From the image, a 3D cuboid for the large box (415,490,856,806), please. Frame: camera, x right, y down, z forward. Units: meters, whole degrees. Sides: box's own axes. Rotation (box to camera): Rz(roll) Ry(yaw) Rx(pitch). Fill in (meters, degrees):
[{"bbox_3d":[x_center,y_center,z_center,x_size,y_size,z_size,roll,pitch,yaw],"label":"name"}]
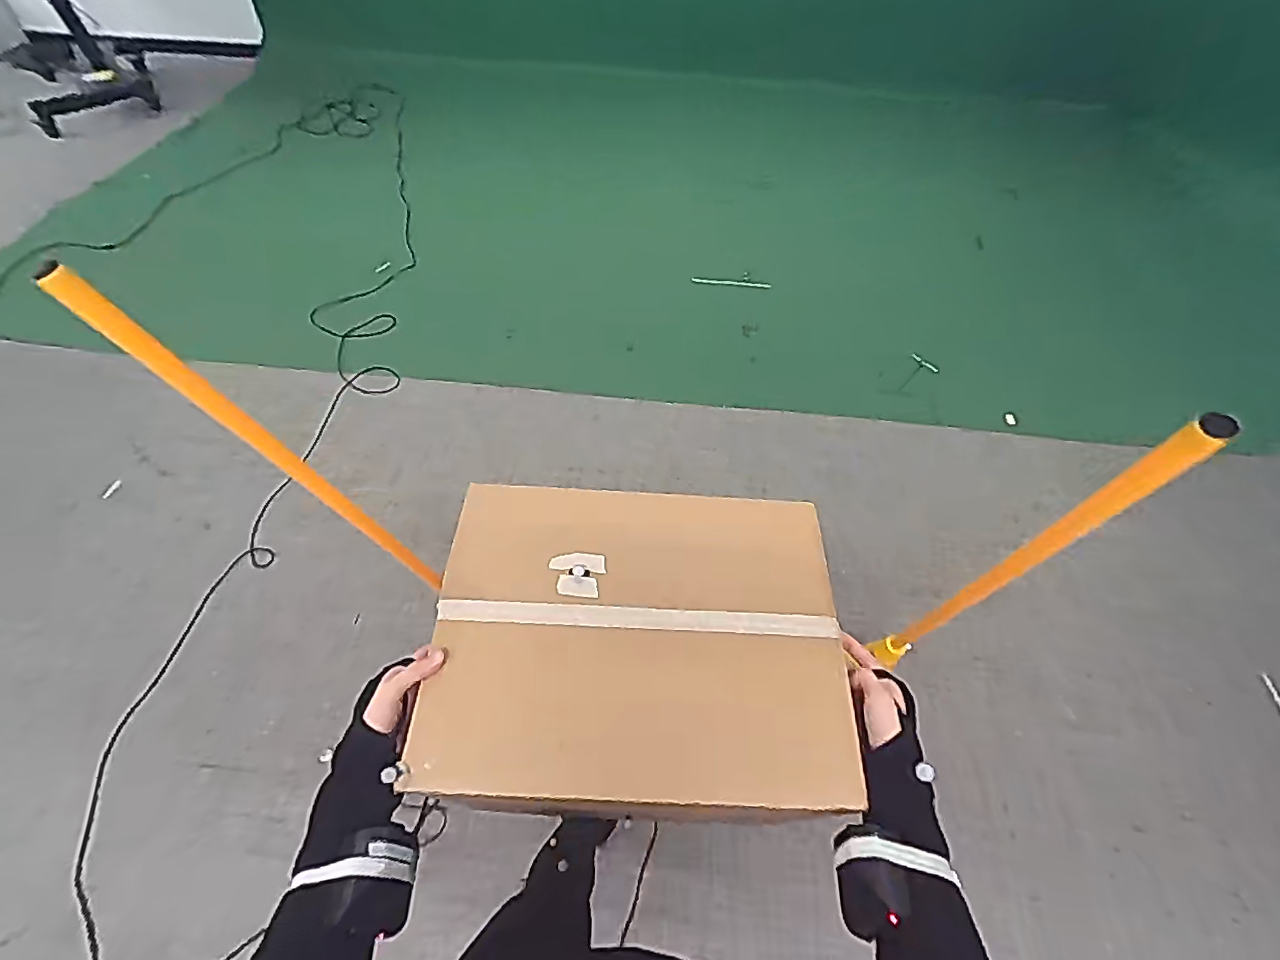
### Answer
[{"bbox_3d":[-0.002,0.227,0.686,0.408,0.320,0.320,3,55,0],"label":"large box"}]
